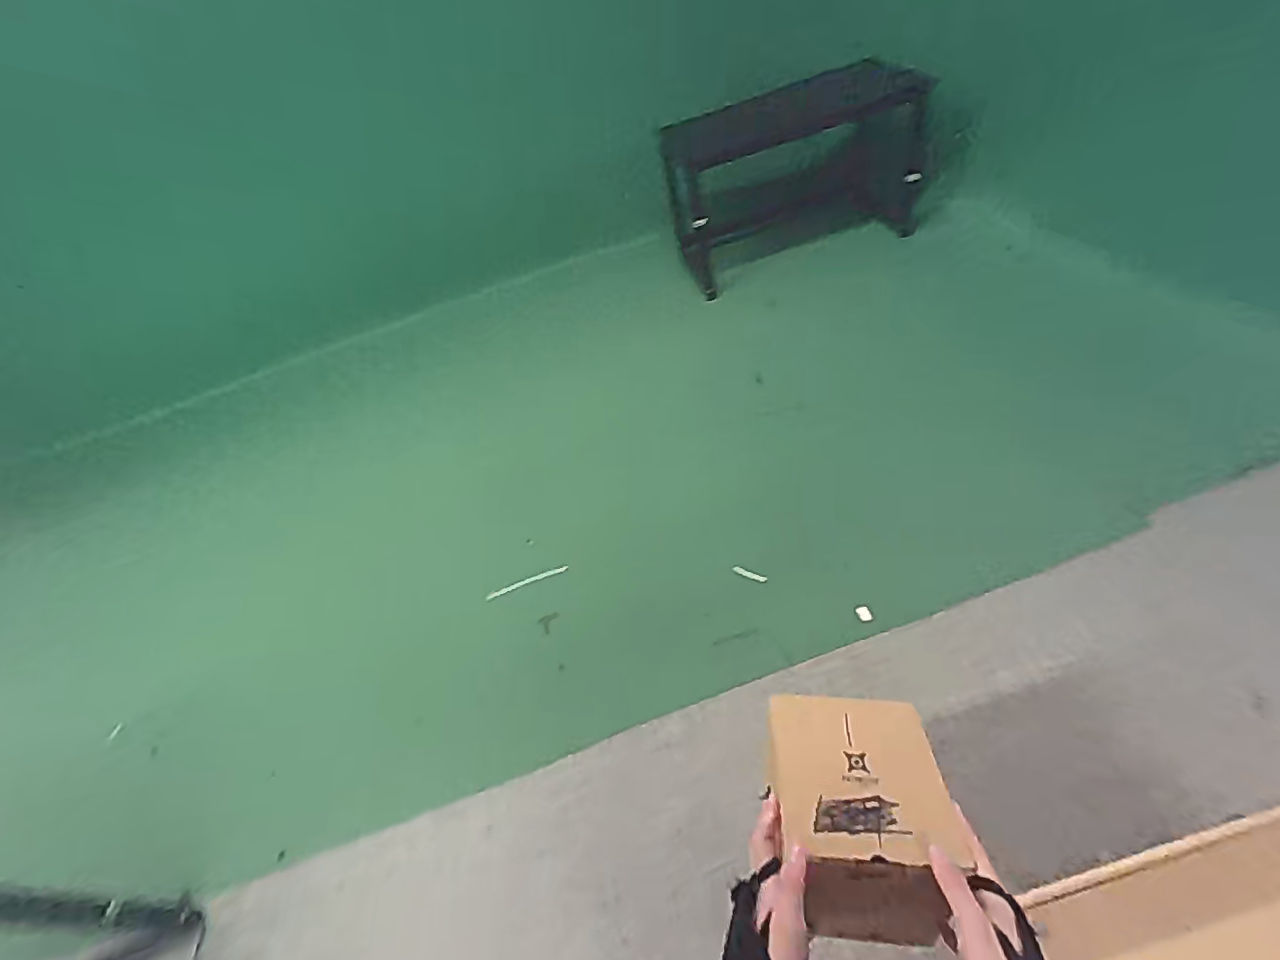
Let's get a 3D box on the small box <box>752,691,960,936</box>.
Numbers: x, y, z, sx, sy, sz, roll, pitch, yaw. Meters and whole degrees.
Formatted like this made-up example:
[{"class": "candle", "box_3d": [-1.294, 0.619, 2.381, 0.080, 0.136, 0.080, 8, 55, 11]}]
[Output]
[{"class": "small box", "box_3d": [0.215, 0.361, 0.593, 0.168, 0.176, 0.179, 0, 32, 6]}]
